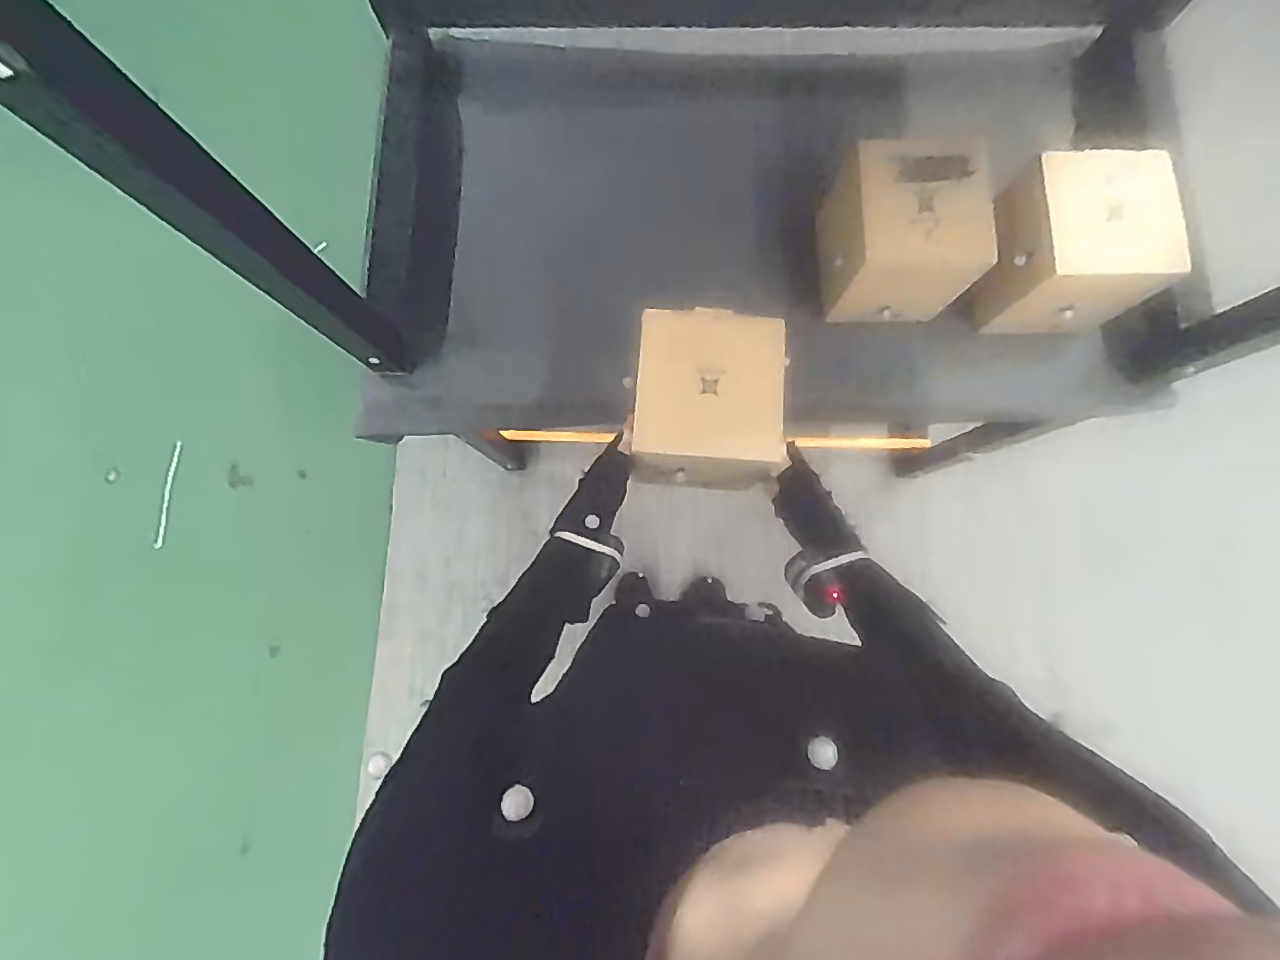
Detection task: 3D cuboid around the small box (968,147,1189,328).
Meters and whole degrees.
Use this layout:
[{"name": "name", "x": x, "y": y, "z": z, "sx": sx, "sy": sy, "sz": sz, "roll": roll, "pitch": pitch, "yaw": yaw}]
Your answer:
[{"name": "small box", "x": 0.595, "y": -0.327, "z": 0.759, "sx": 0.168, "sy": 0.176, "sz": 0.179, "roll": 0, "pitch": 80, "yaw": 1}]

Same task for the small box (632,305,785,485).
[{"name": "small box", "x": 0.079, "y": -0.095, "z": 0.682, "sx": 0.168, "sy": 0.176, "sz": 0.179, "roll": 4, "pitch": 77, "yaw": 0}]
